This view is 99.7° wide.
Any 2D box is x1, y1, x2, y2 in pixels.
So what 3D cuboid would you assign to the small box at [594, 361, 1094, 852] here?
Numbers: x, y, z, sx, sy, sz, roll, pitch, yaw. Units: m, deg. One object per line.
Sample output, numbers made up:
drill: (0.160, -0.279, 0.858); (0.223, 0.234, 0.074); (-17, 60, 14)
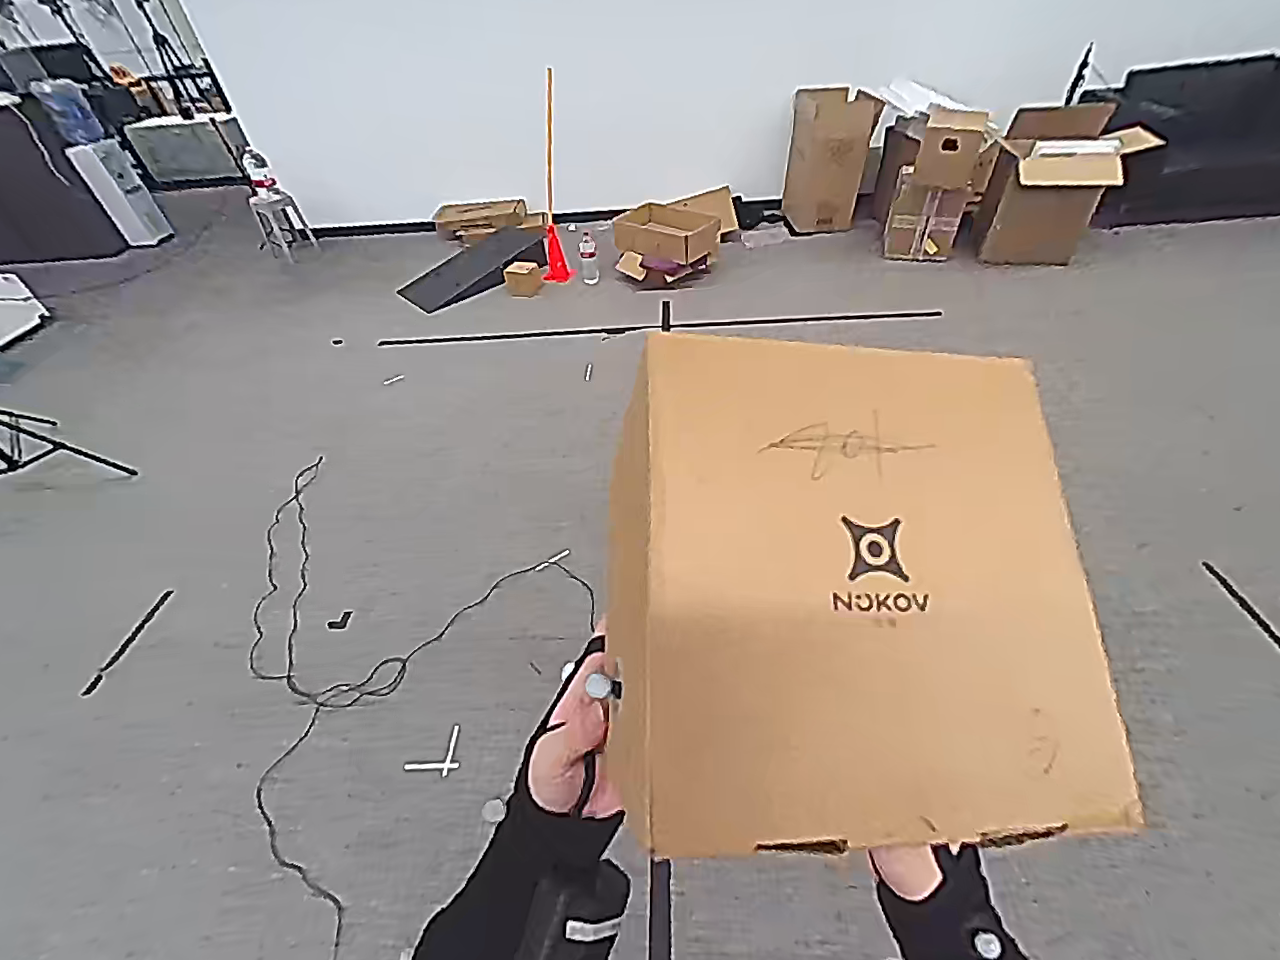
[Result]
small box: (0.065, 0.062, 0.279); (0.168, 0.176, 0.179); (2, 70, -9)
